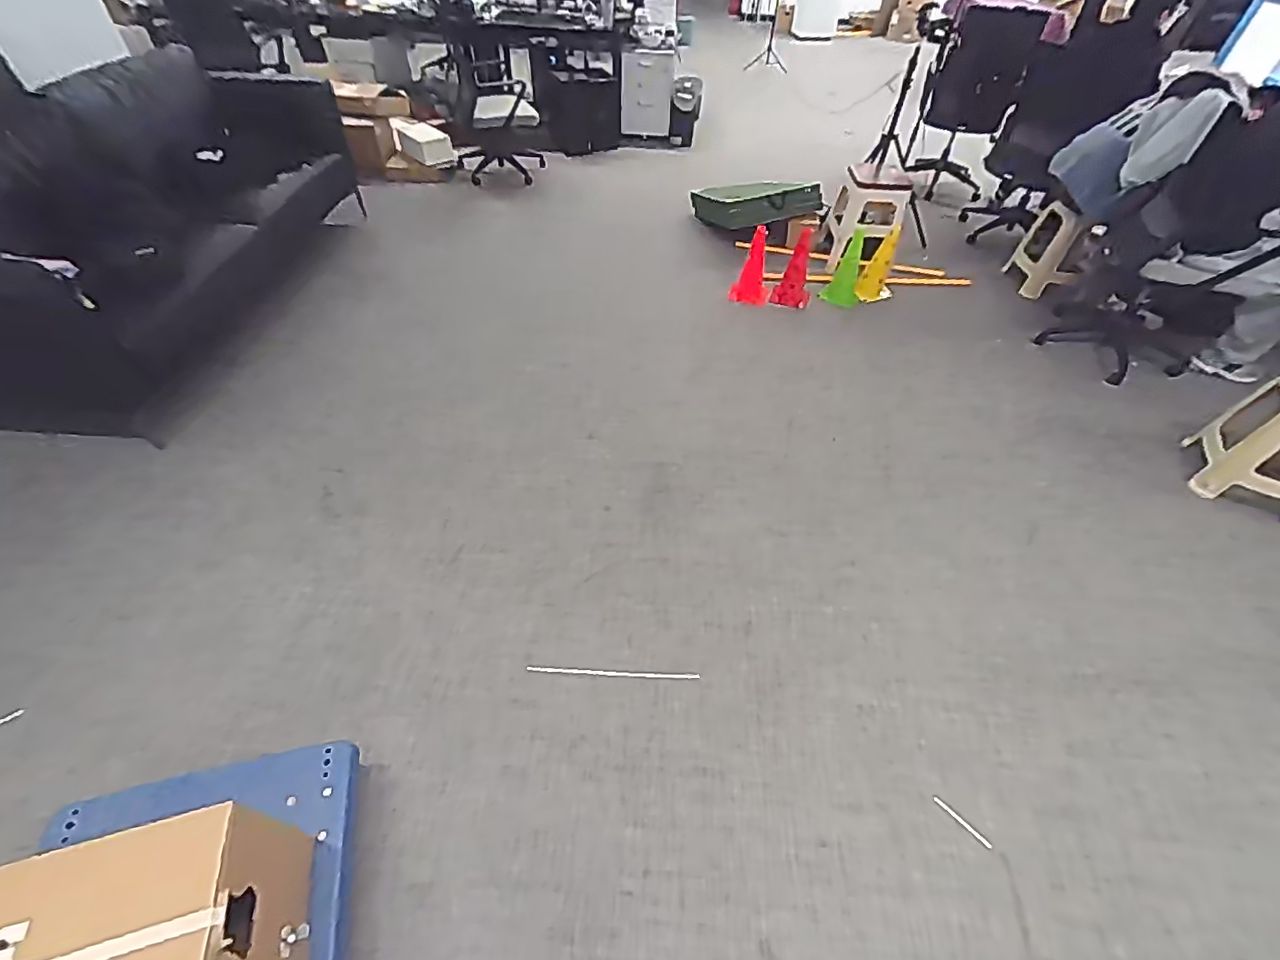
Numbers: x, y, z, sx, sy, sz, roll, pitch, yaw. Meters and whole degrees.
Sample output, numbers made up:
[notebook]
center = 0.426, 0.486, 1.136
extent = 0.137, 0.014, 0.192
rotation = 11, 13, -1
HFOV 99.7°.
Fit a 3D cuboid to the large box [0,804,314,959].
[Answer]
[large box]
center = -0.790, 0.767, 0.841
extent = 0.408, 0.320, 0.320
rotation = -12, 48, -11
